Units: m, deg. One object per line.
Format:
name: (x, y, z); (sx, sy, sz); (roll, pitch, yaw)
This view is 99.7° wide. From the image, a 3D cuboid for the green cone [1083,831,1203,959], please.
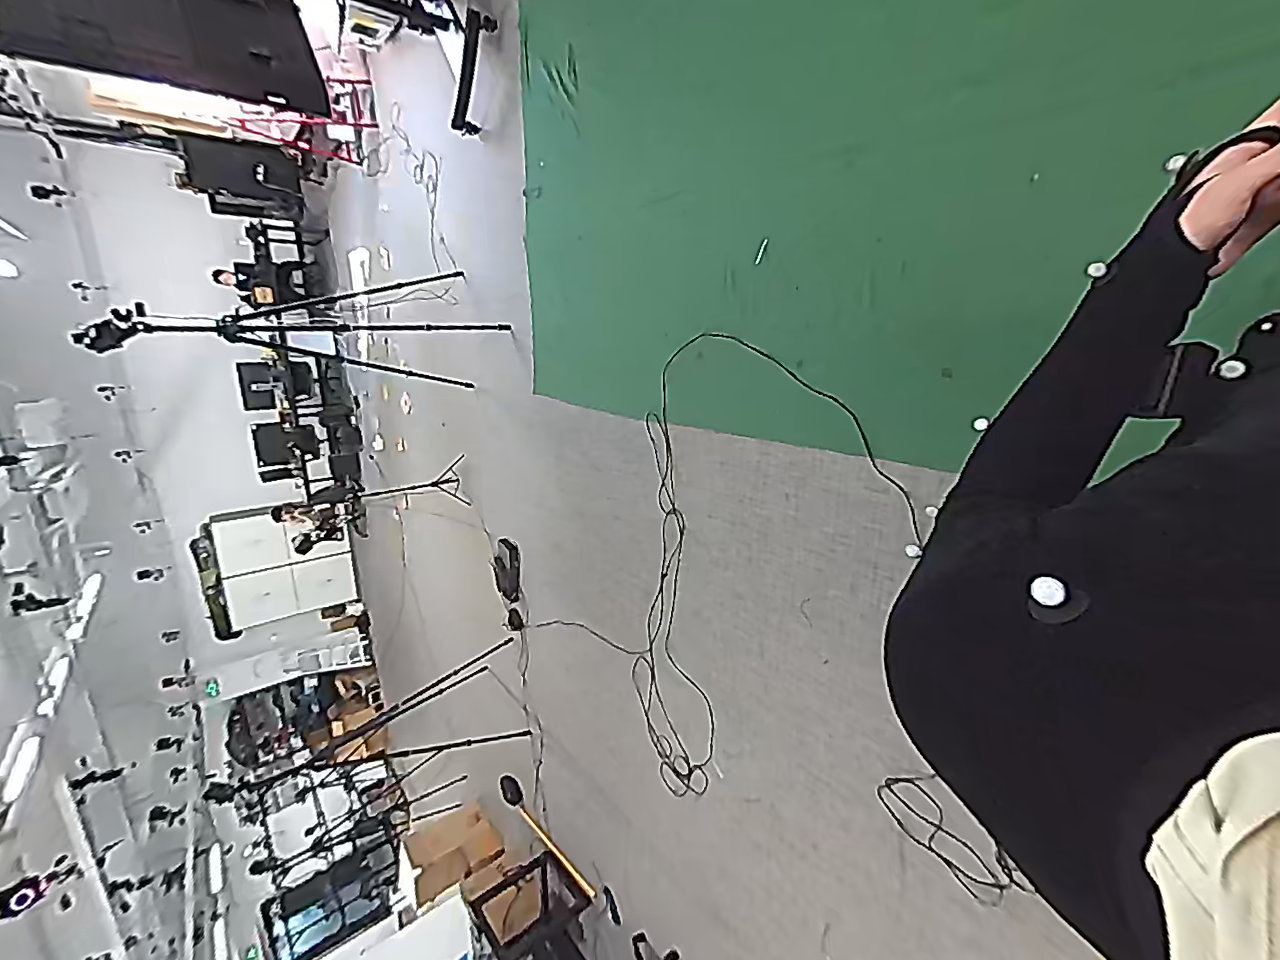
green cone: (1.119, 1.043, 1.253); (0.202, 0.368, 0.200); (20, 114, 49)
